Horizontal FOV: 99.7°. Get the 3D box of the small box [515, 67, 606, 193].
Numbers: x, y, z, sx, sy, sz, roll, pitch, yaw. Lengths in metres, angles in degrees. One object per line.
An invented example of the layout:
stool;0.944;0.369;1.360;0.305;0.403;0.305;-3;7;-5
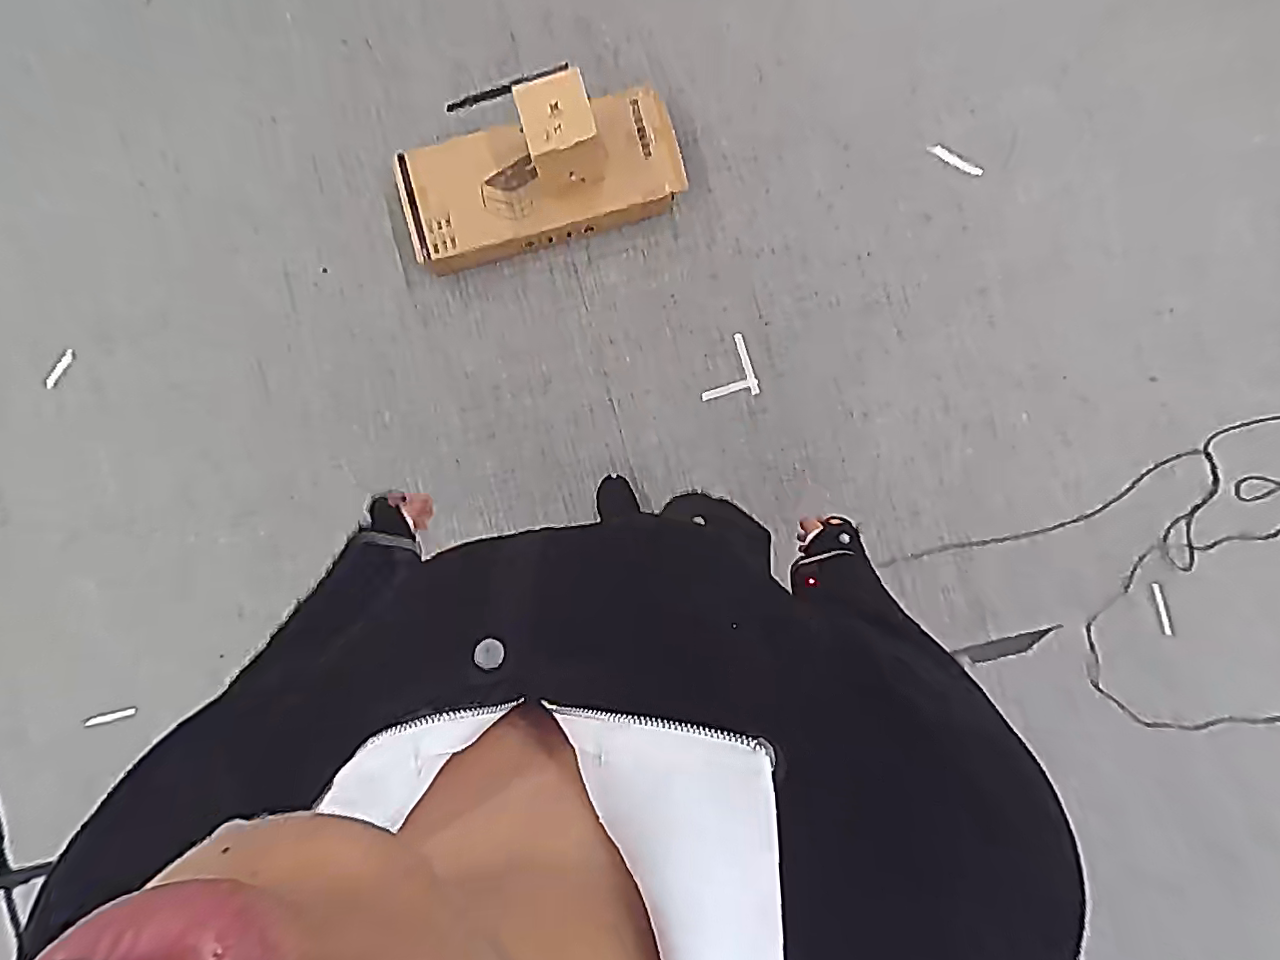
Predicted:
small box;-0.189;-0.851;1.329;0.168;0.176;0.179;-16;88;2
